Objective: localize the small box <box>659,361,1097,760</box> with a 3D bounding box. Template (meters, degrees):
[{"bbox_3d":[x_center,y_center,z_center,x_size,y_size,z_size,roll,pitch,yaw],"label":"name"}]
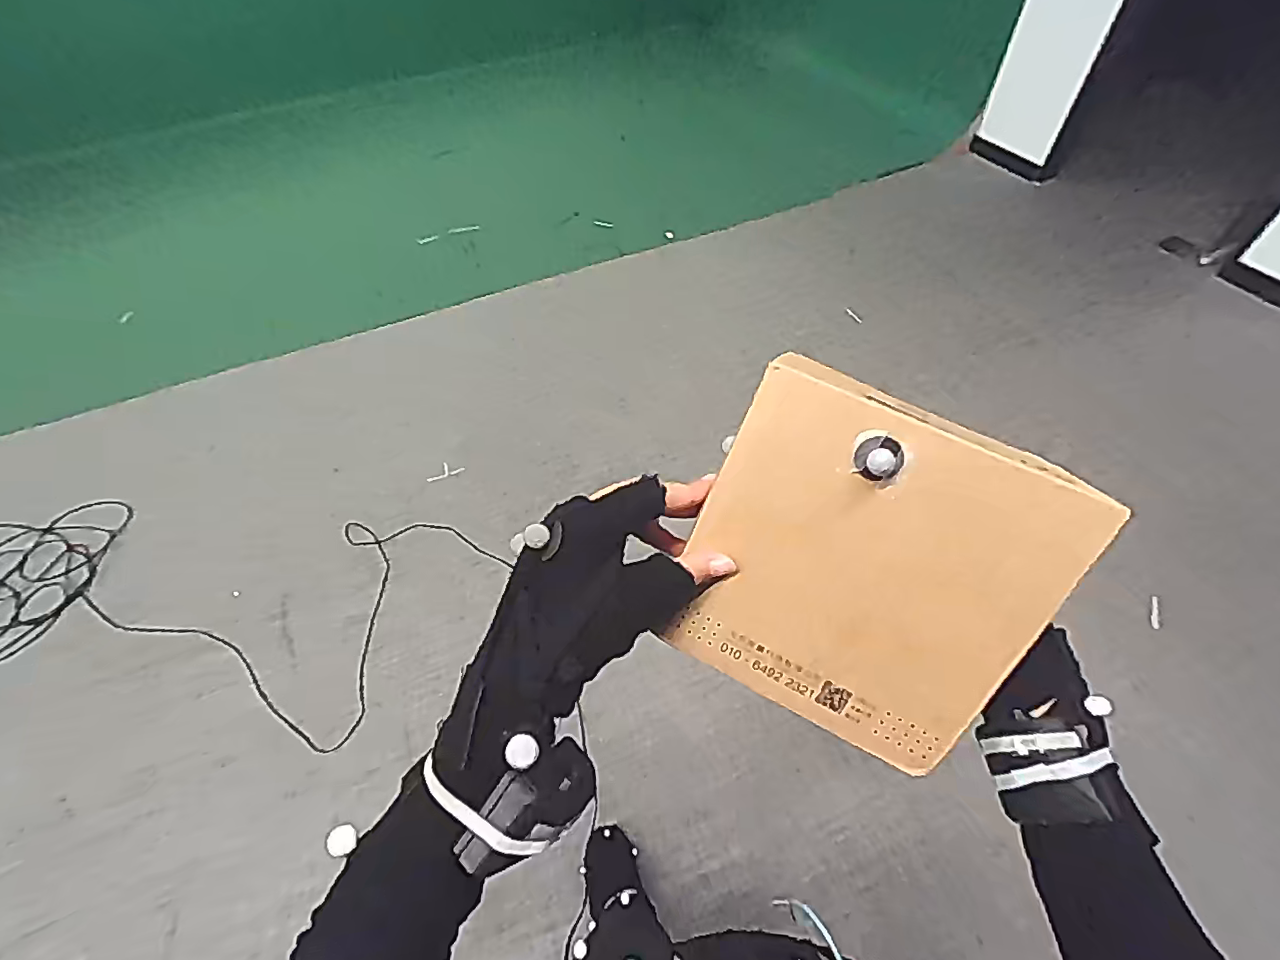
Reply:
[{"bbox_3d":[0.129,0.033,0.358,0.168,0.176,0.179,25,19,12],"label":"small box"}]
